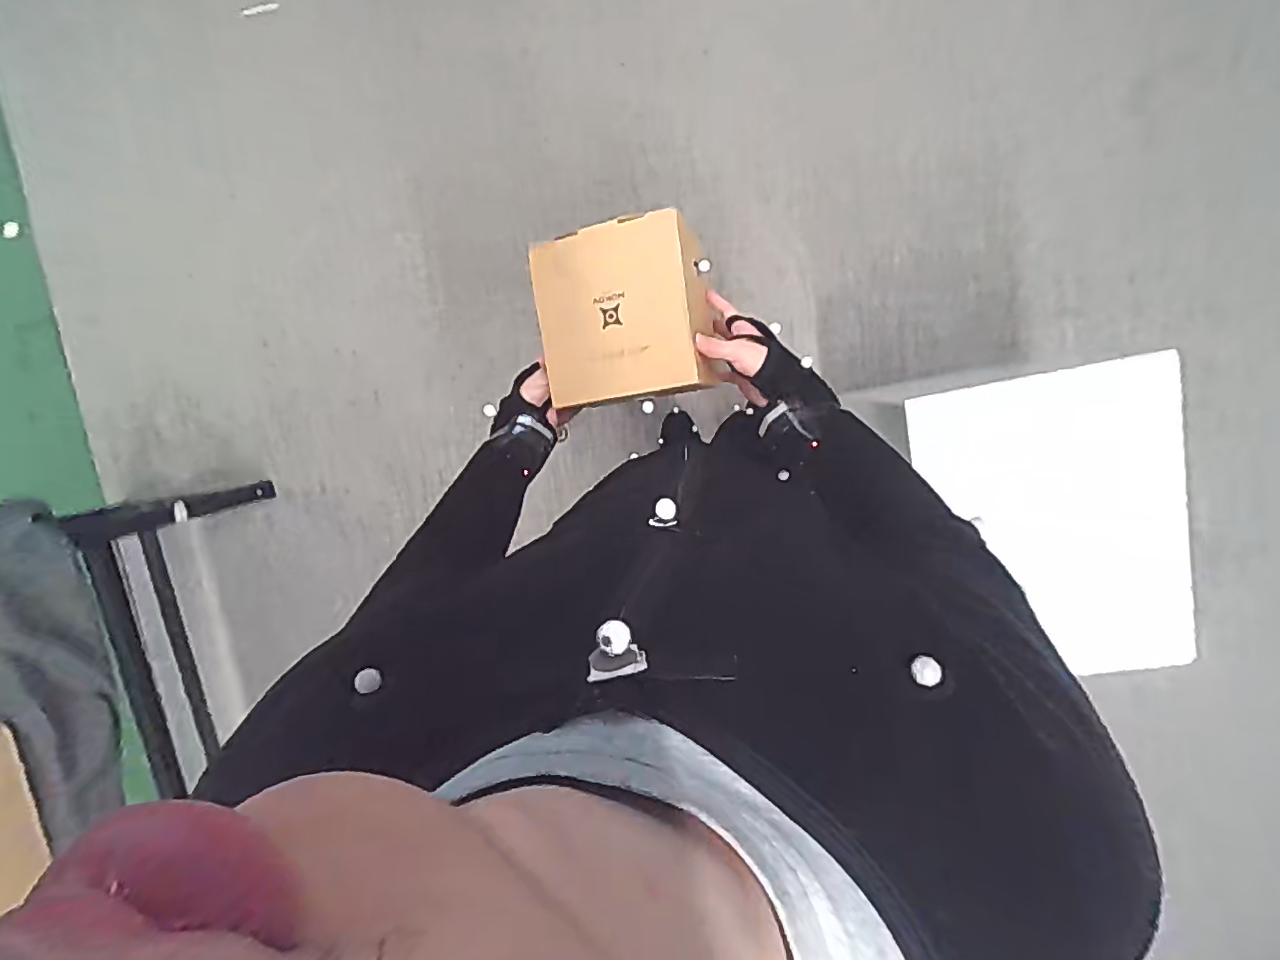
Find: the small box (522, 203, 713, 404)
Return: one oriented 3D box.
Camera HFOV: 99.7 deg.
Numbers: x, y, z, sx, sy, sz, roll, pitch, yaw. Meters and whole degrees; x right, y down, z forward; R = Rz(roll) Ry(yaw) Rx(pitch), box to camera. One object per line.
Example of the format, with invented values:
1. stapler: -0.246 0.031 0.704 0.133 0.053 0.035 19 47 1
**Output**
1. small box: -0.016 -0.189 0.636 0.168 0.176 0.179 -8 95 18
